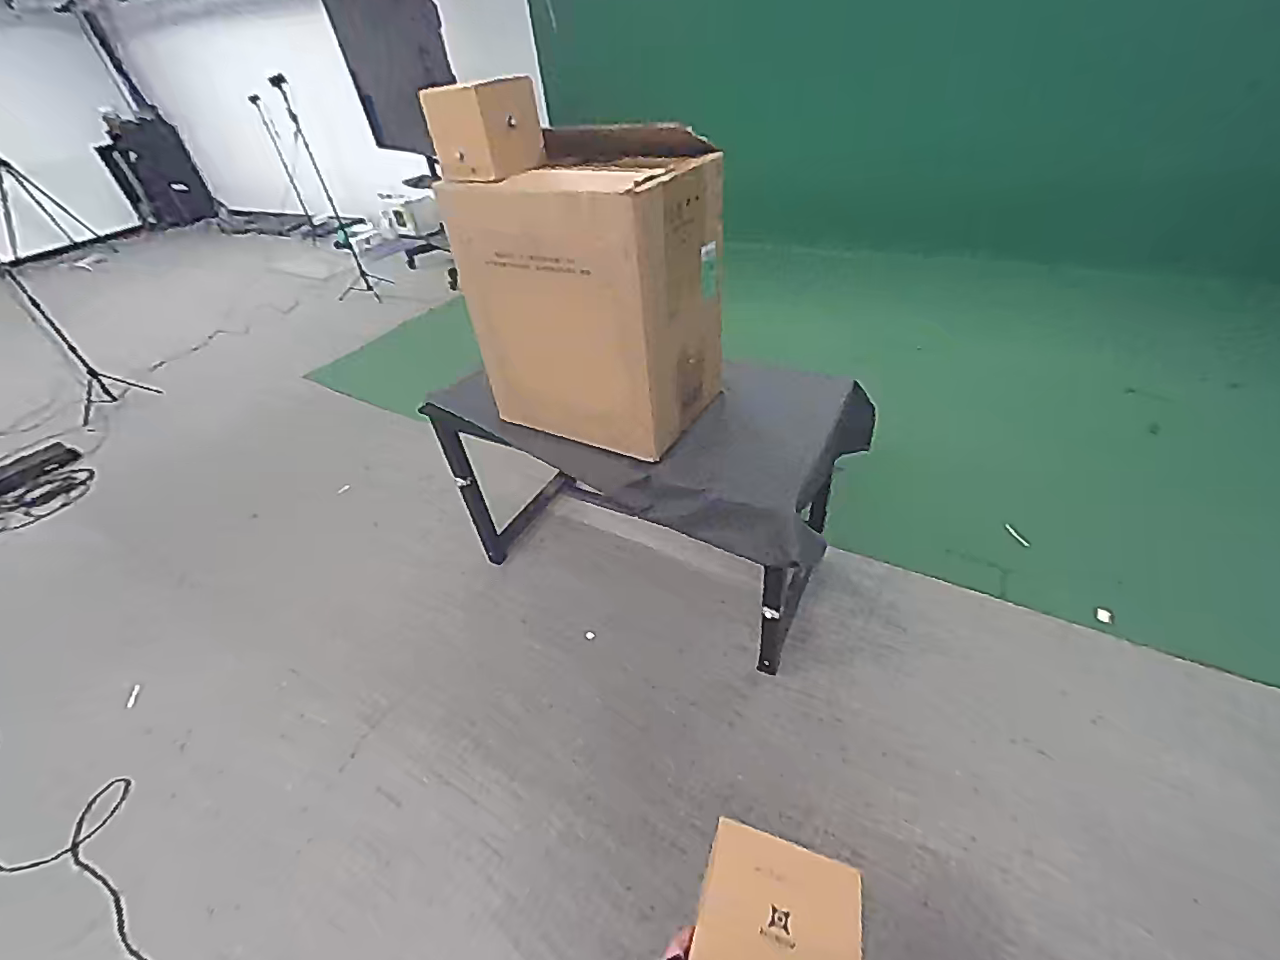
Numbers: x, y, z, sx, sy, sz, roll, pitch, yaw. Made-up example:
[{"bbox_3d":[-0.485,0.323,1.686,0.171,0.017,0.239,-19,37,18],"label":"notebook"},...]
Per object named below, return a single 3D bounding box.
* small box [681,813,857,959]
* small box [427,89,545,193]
[{"bbox_3d":[0.137,0.530,0.604,0.168,0.176,0.179,13,27,14],"label":"small box"},{"bbox_3d":[-0.330,-0.752,1.201,0.168,0.176,0.179,16,45,29],"label":"small box"}]
